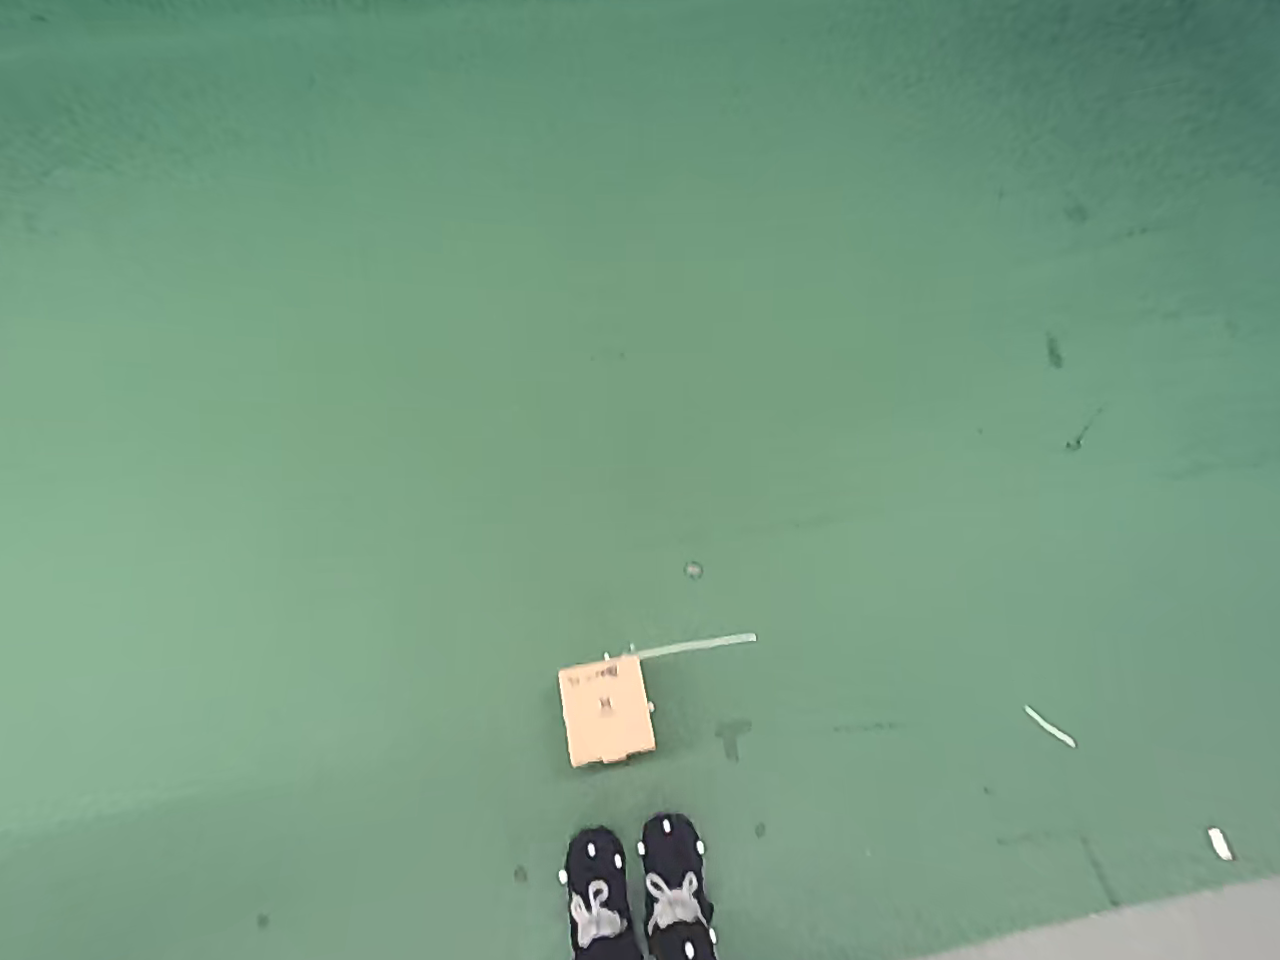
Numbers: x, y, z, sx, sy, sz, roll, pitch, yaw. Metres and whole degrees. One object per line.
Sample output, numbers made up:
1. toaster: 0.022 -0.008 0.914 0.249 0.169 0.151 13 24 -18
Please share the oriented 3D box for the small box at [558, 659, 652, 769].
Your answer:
1. small box: -0.070 0.478 1.125 0.168 0.176 0.179 -10 70 -5
